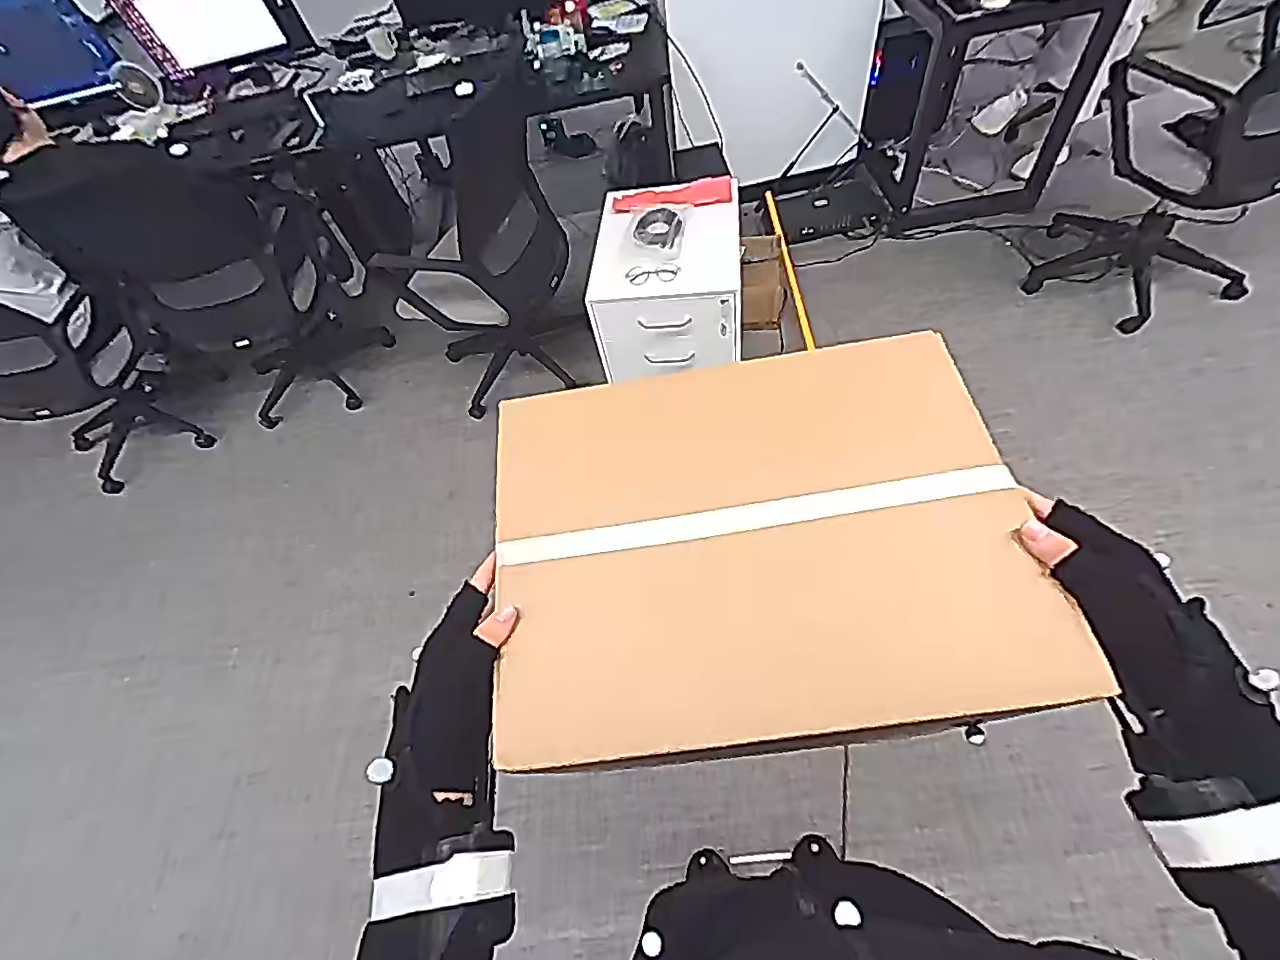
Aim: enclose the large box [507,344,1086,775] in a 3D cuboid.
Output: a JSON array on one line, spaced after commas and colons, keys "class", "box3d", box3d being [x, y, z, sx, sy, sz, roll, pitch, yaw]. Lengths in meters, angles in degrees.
[{"class": "large box", "box3d": [0.107, 0.108, 0.568, 0.408, 0.320, 0.320, -9, 60, 4]}]
